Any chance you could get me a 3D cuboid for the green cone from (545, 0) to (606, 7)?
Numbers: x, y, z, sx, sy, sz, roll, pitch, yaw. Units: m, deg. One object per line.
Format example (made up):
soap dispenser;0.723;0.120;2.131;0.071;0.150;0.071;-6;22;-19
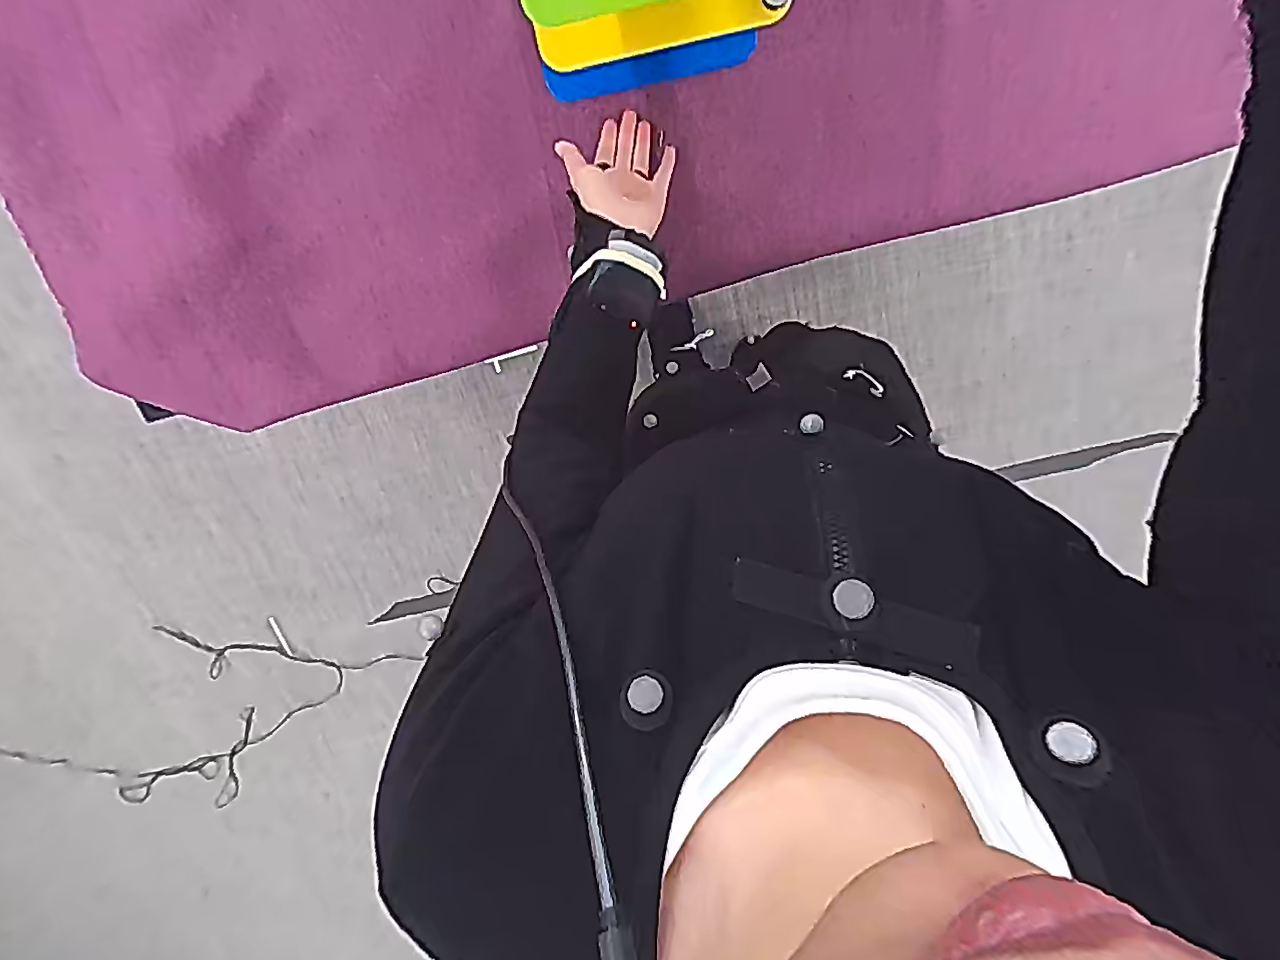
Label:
green cone;-0.002;-0.369;0.148;0.200;0.368;0.202;-10;102;6
